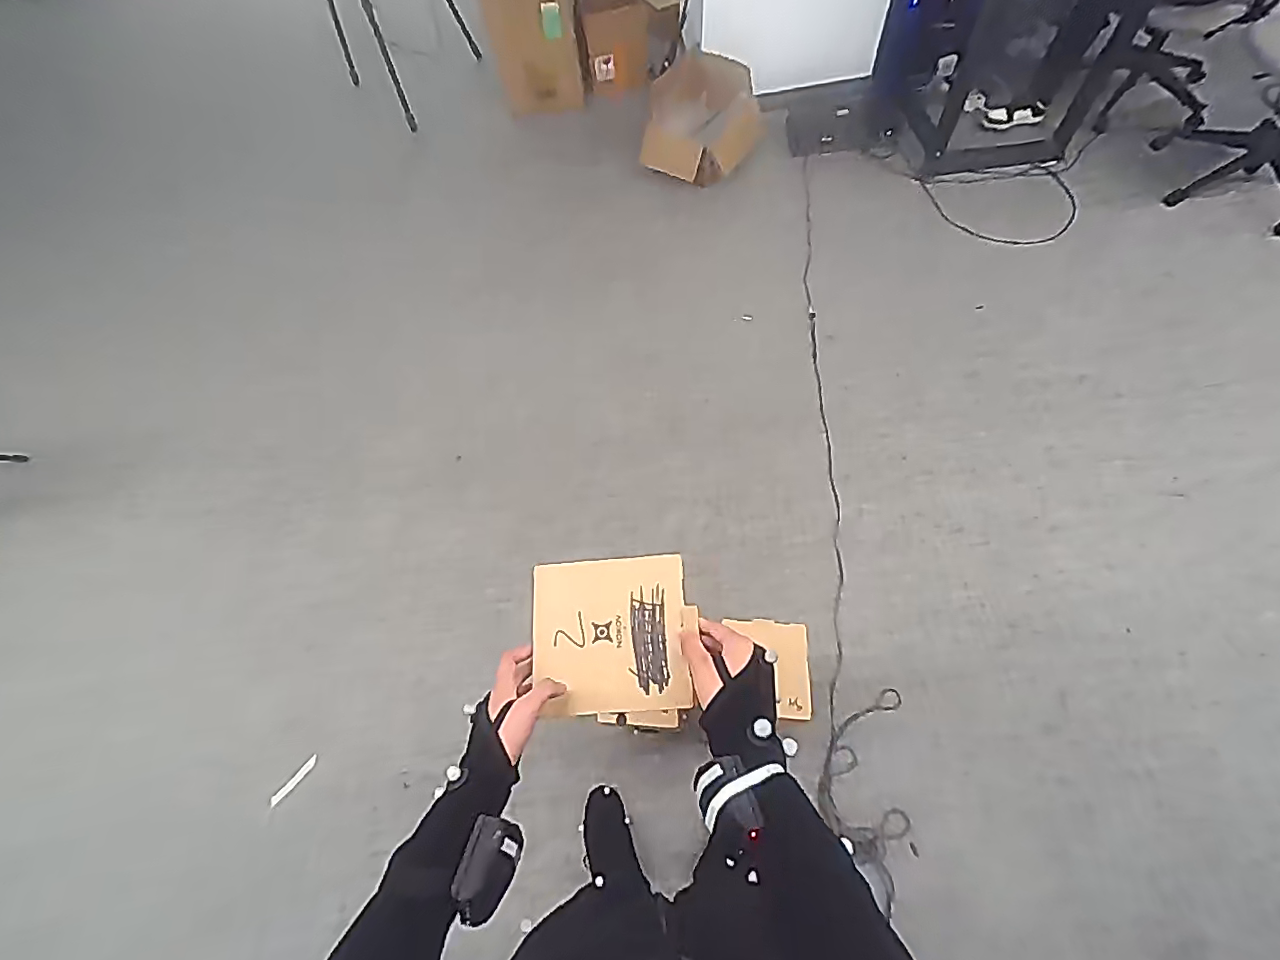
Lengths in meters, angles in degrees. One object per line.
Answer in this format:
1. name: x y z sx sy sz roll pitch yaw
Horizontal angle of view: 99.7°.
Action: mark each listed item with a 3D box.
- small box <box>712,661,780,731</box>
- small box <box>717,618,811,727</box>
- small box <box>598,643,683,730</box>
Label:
1. small box: 0.276 0.538 1.381 0.168 0.176 0.179 -6 63 3
2. small box: 0.244 0.391 1.092 0.168 0.176 0.179 2 62 7
3. small box: 0.009 0.481 1.250 0.179 0.176 0.168 2 63 7
